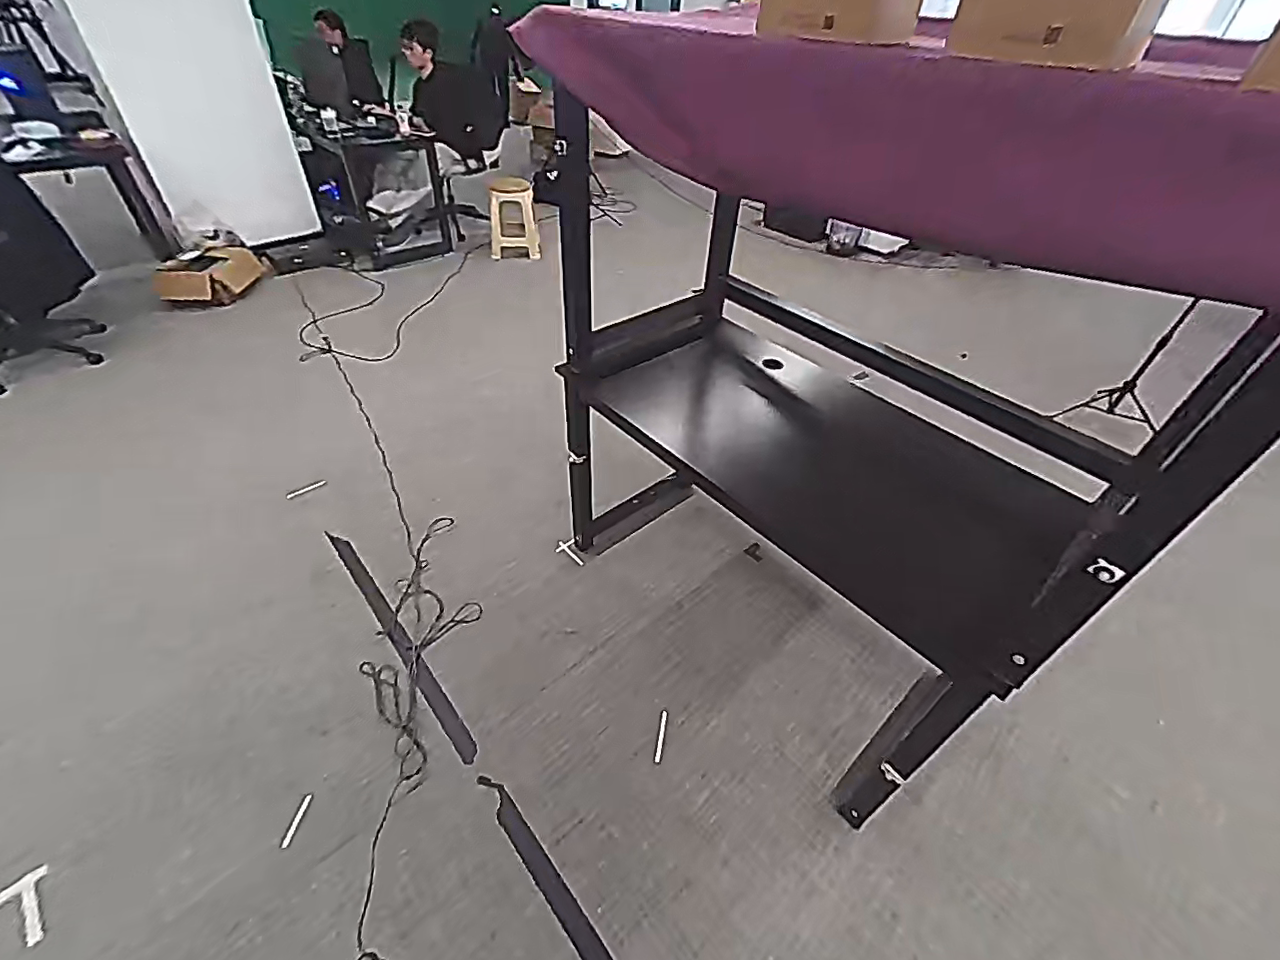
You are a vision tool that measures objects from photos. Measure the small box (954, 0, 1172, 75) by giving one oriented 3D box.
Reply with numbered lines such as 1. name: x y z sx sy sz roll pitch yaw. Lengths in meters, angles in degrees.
1. small box: 0.468 -0.540 0.570 0.168 0.176 0.179 35 50 29

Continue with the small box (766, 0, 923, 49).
1. small box: 0.281 -0.678 0.708 0.168 0.176 0.179 29 48 26

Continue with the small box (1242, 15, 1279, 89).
1. small box: 0.632 -0.399 0.419 0.168 0.176 0.179 31 48 29
